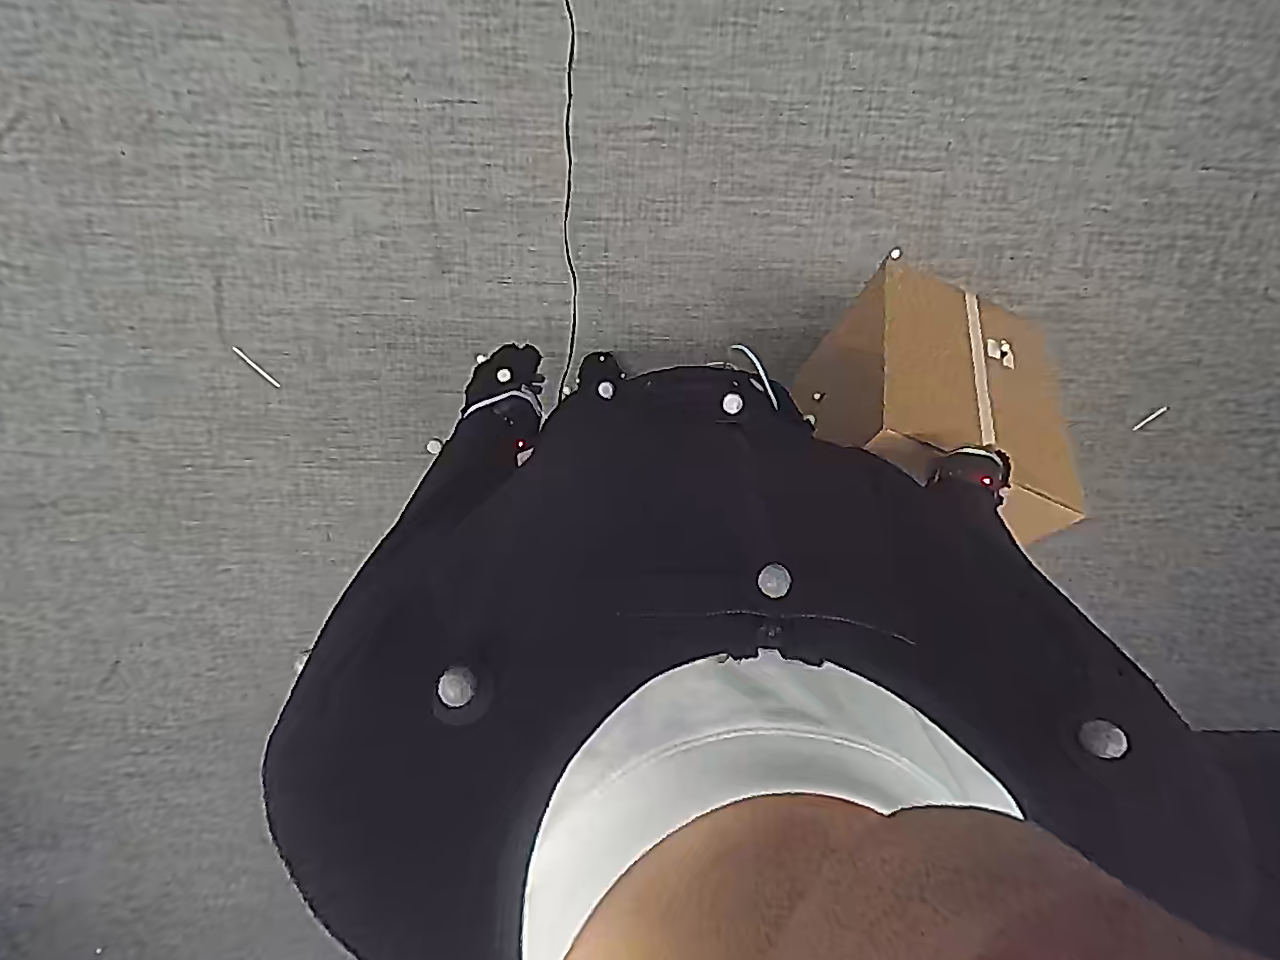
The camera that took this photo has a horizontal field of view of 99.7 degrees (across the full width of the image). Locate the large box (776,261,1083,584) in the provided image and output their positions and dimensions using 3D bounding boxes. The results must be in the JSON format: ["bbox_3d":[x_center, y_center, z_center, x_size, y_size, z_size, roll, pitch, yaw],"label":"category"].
[{"bbox_3d":[0.462,-0.090,0.944,0.320,0.408,0.320,23,145,-6],"label":"large box"}]
